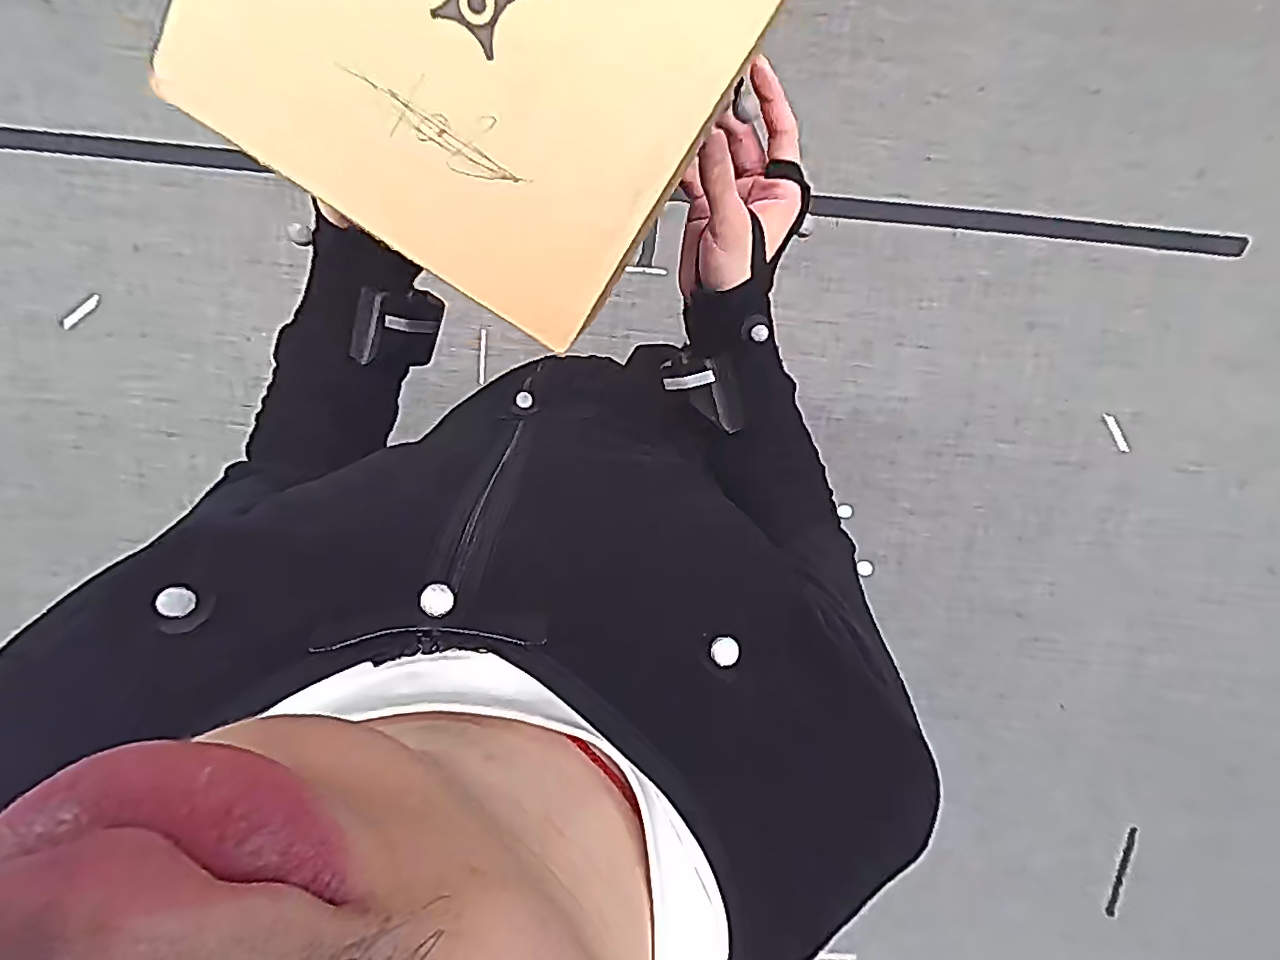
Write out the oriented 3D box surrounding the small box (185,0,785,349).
[{"bbox_3d":[-0.052,-0.191,0.262,0.168,0.176,0.179,31,108,-11],"label":"small box"}]
